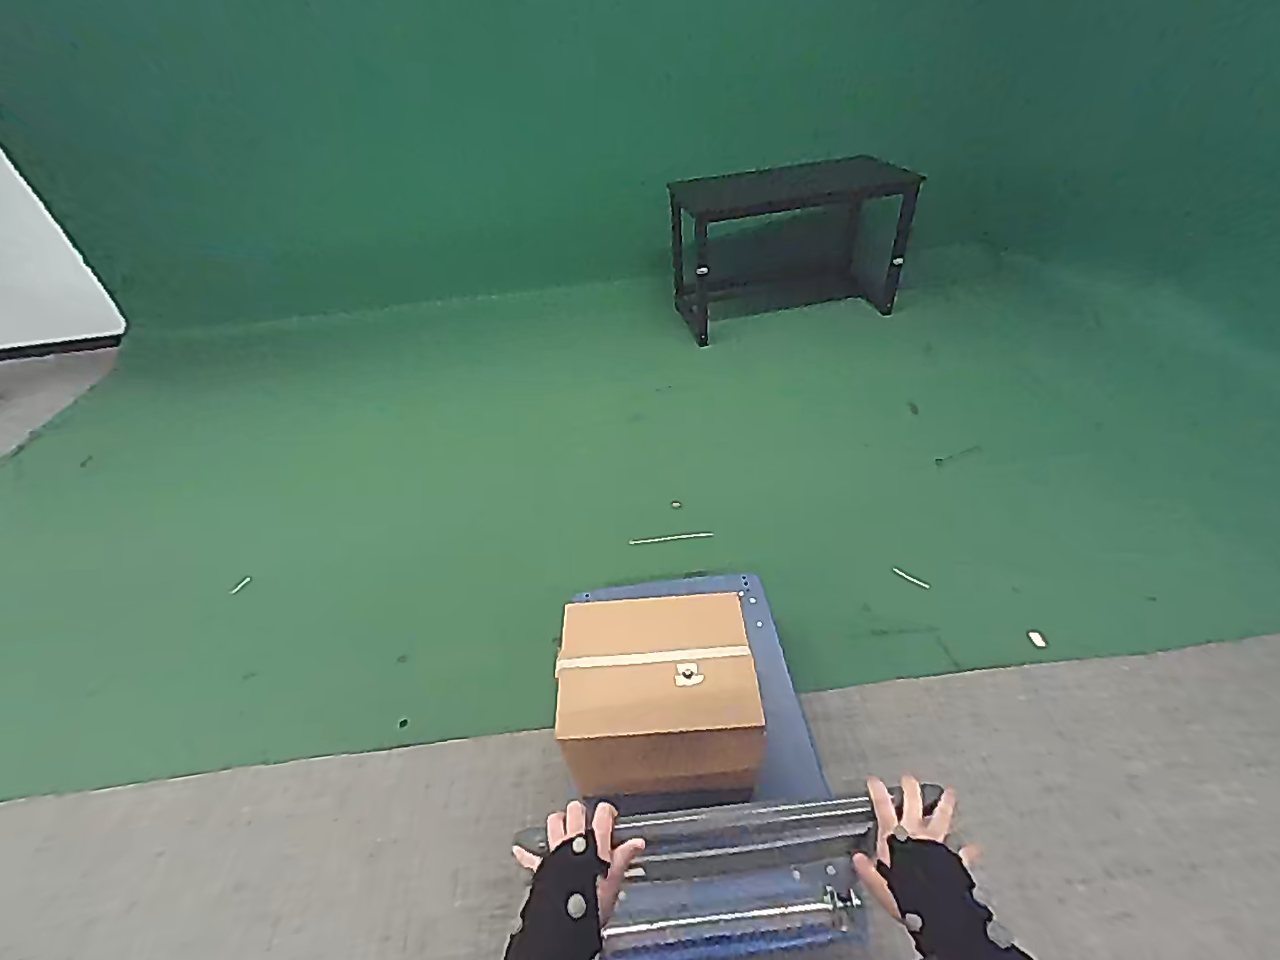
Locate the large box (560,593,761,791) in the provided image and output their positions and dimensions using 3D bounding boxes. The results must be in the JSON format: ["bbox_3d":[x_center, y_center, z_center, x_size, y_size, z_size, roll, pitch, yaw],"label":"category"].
[{"bbox_3d":[0.041,0.493,1.259,0.408,0.320,0.320,-4,41,1],"label":"large box"}]
